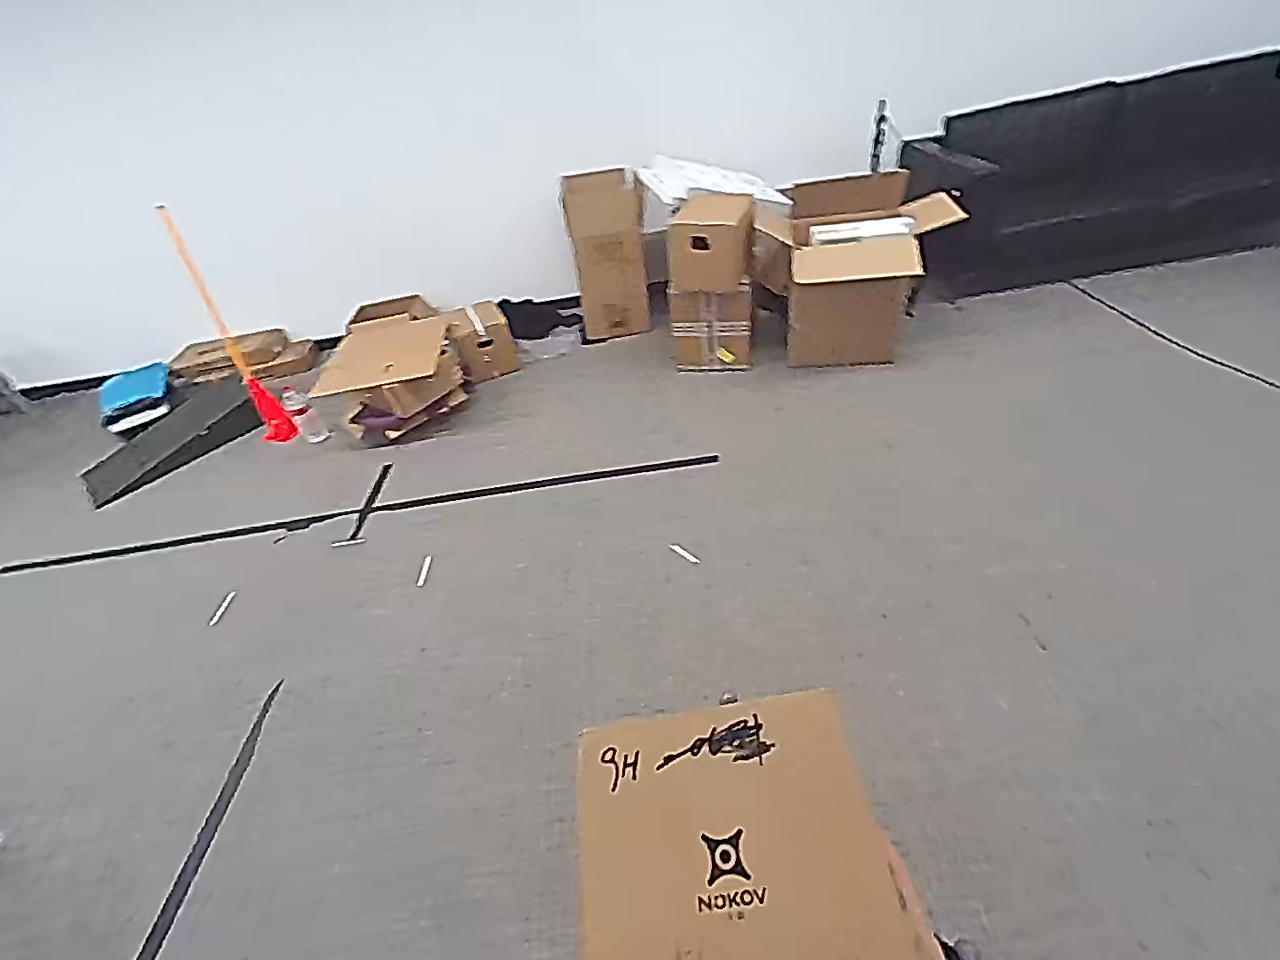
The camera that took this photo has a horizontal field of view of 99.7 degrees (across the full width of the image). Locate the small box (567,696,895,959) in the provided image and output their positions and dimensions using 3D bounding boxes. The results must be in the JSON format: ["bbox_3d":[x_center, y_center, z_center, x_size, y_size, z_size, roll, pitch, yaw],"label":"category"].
[{"bbox_3d":[0.056,0.267,0.353,0.168,0.176,0.179,-12,49,4],"label":"small box"}]
